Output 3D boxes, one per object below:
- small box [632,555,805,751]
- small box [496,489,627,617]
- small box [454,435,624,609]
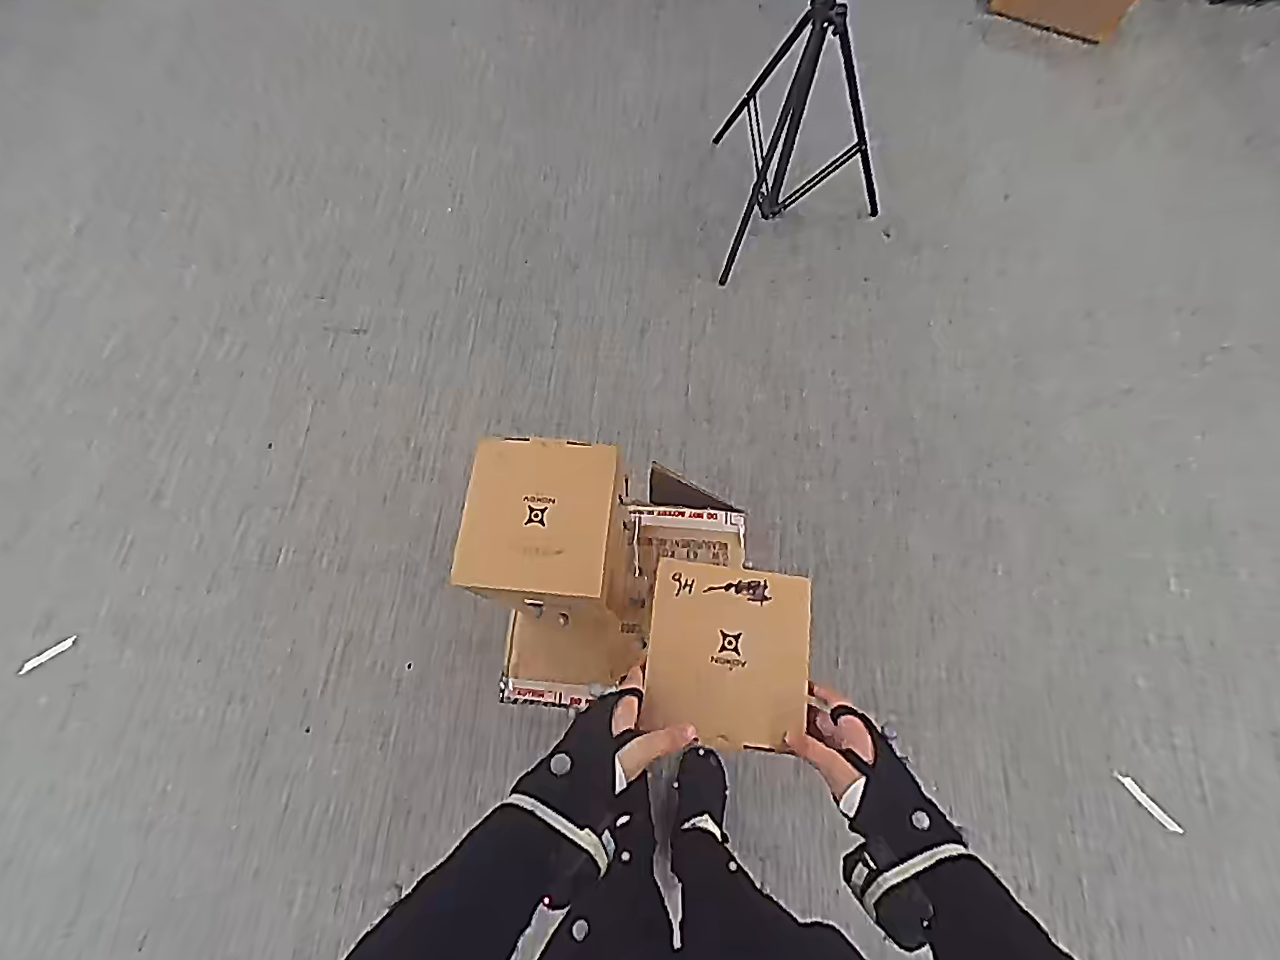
[{"bbox_3d":[0.085,0.199,0.635,0.168,0.176,0.179,8,72,1],"label":"small box"},{"bbox_3d":[-0.111,0.110,0.837,0.168,0.176,0.179,4,72,3],"label":"small box"},{"bbox_3d":[-0.111,0.060,0.683,0.168,0.176,0.179,4,72,4],"label":"small box"}]
